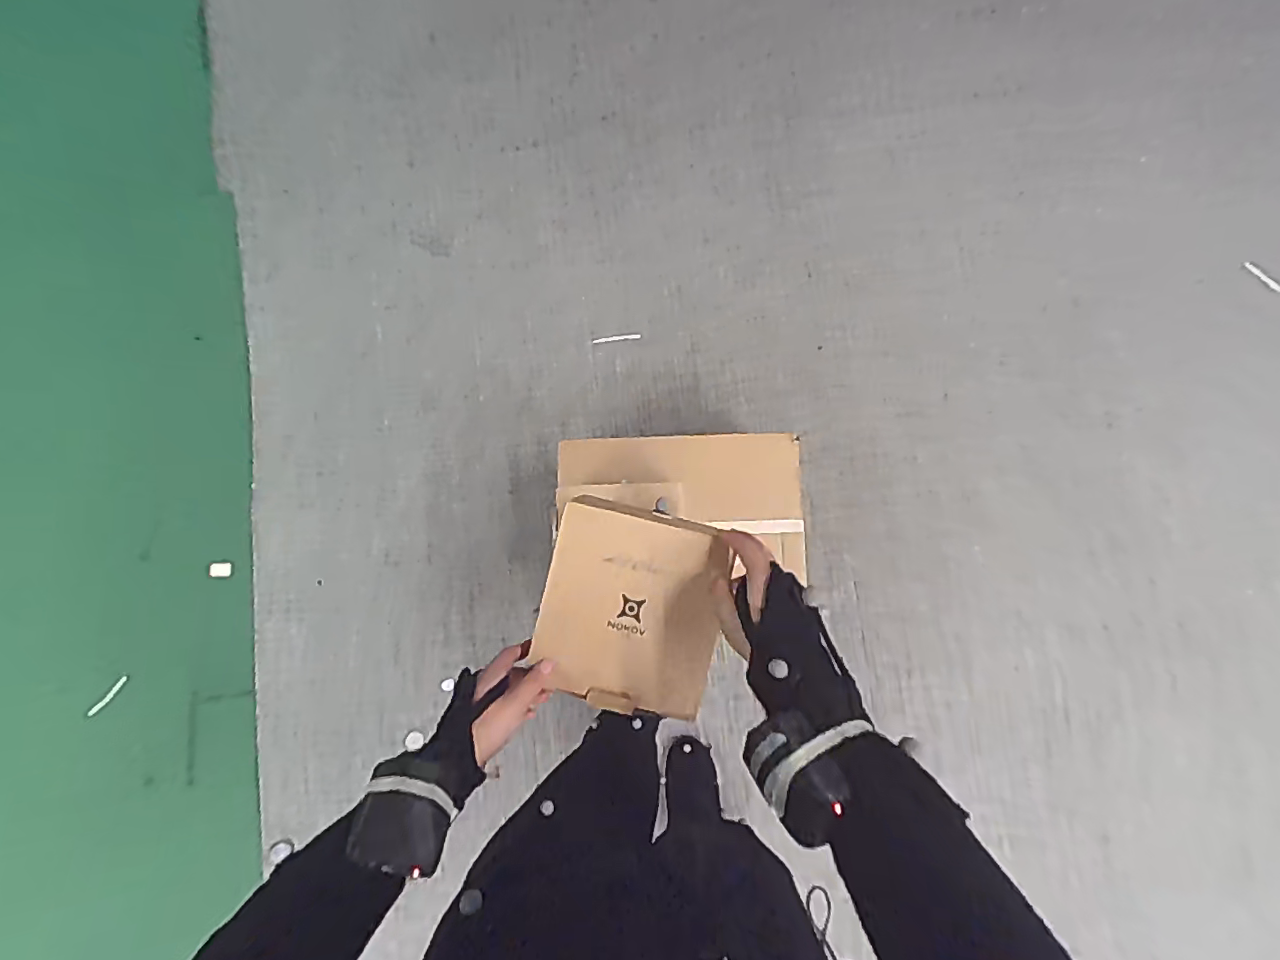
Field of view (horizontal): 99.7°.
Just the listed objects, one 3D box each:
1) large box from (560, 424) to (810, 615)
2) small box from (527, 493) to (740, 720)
[{"bbox_3d":[0.073,0.083,1.040,0.408,0.320,0.320,-2,86,1],"label":"large box"},{"bbox_3d":[-0.006,0.117,0.572,0.168,0.176,0.179,13,91,-1],"label":"small box"}]
